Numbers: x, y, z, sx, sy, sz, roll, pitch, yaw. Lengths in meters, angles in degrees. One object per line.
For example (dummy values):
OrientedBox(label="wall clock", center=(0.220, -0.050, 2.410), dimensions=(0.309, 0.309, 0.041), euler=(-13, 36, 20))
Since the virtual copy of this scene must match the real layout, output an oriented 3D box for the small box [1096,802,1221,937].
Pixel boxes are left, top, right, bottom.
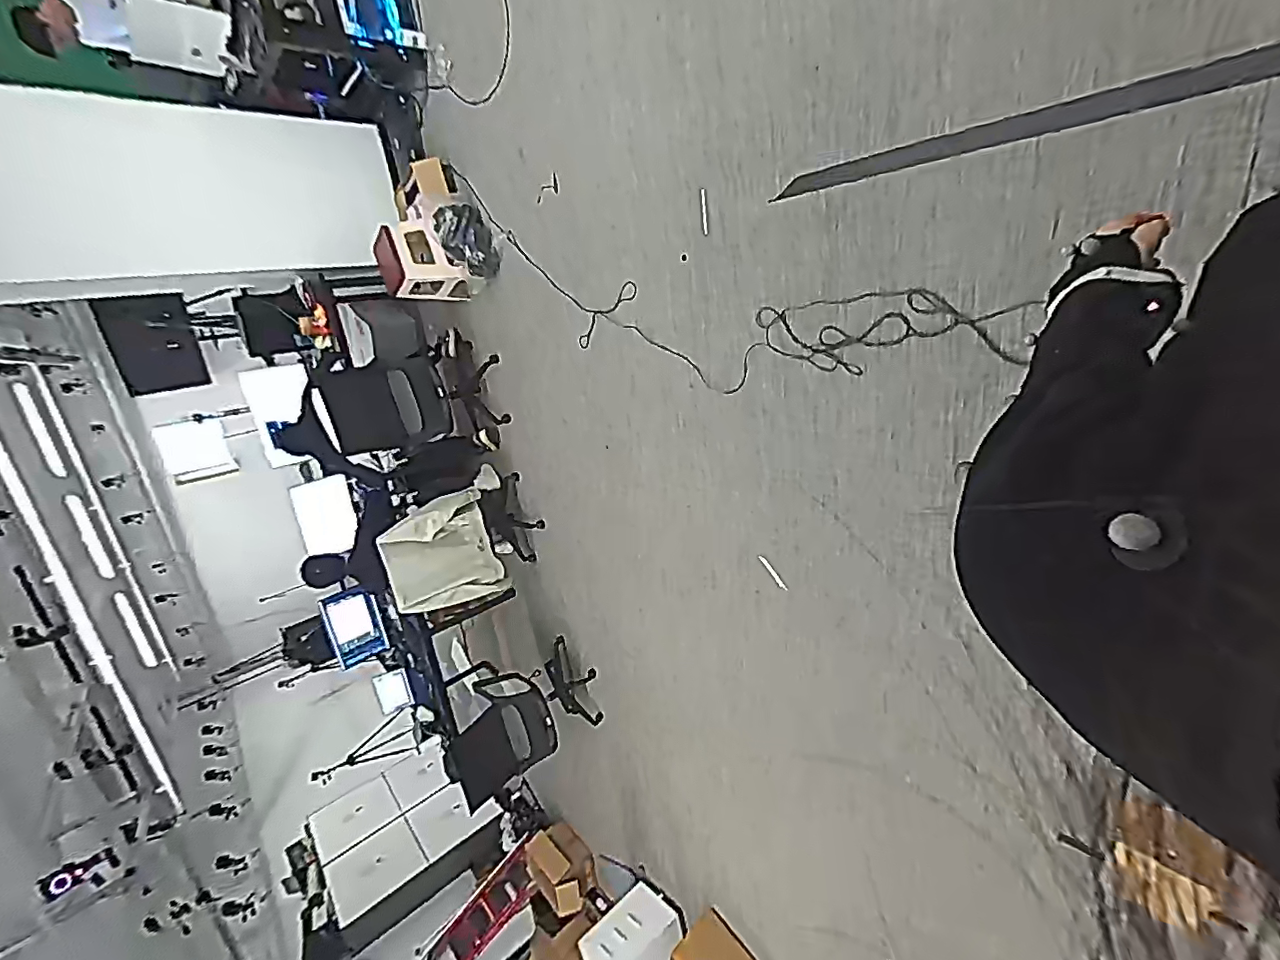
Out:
OrientedBox(label="small box", center=(1.252, 0.923, 1.307), dimensions=(0.179, 0.176, 0.168), euler=(20, 122, 45))
